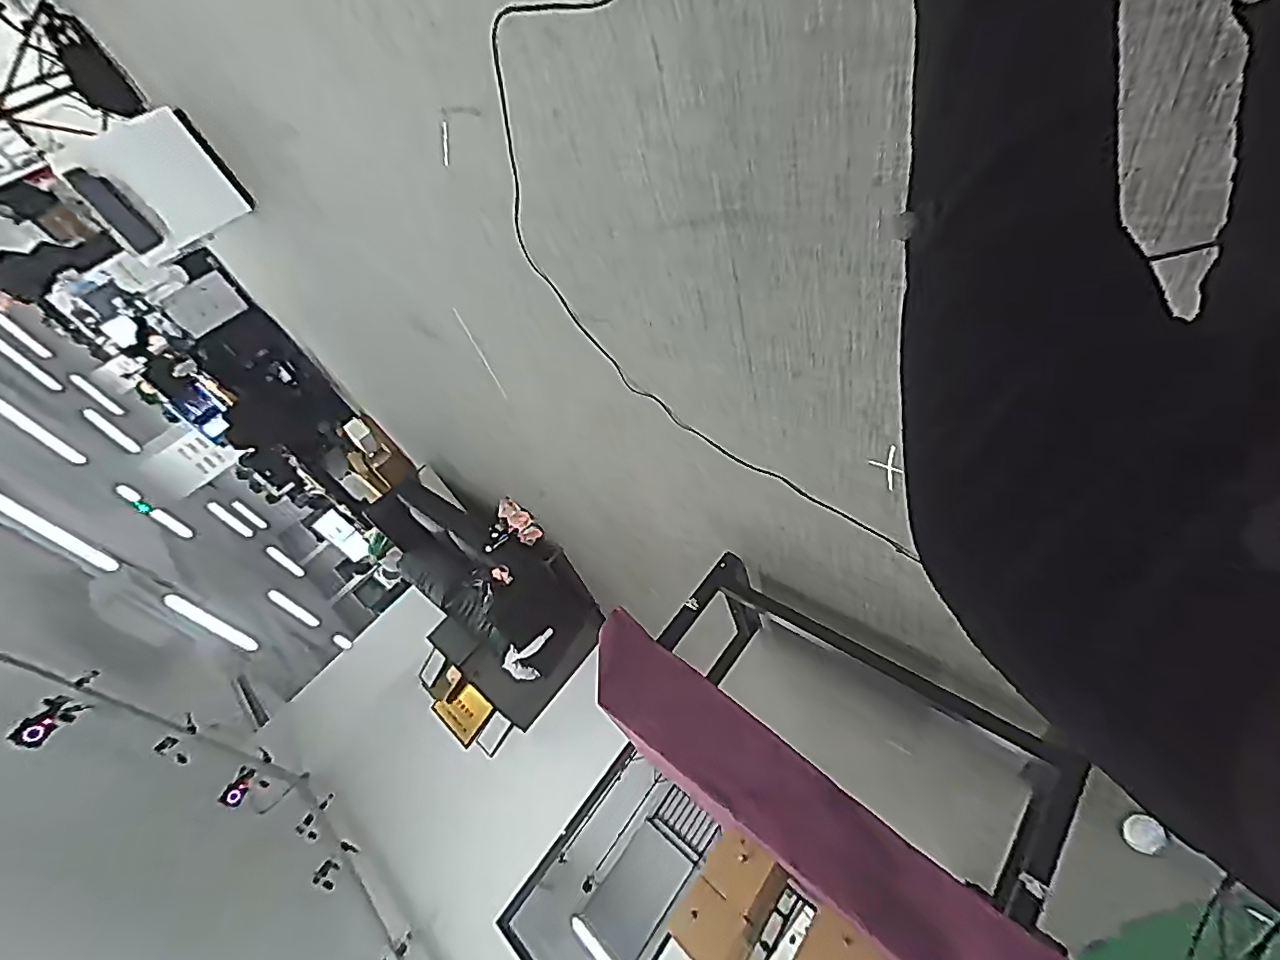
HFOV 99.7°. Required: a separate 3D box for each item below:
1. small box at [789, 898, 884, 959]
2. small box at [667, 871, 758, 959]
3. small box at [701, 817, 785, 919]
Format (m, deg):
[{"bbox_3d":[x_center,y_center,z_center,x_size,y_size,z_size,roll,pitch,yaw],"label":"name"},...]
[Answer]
[{"bbox_3d":[0.529,1.263,1.448,0.179,0.176,0.168,23,151,40],"label":"small box"},{"bbox_3d":[0.215,1.280,1.572,0.179,0.176,0.168,20,149,42],"label":"small box"},{"bbox_3d":[0.318,1.172,1.639,0.168,0.176,0.179,19,147,44],"label":"small box"}]
